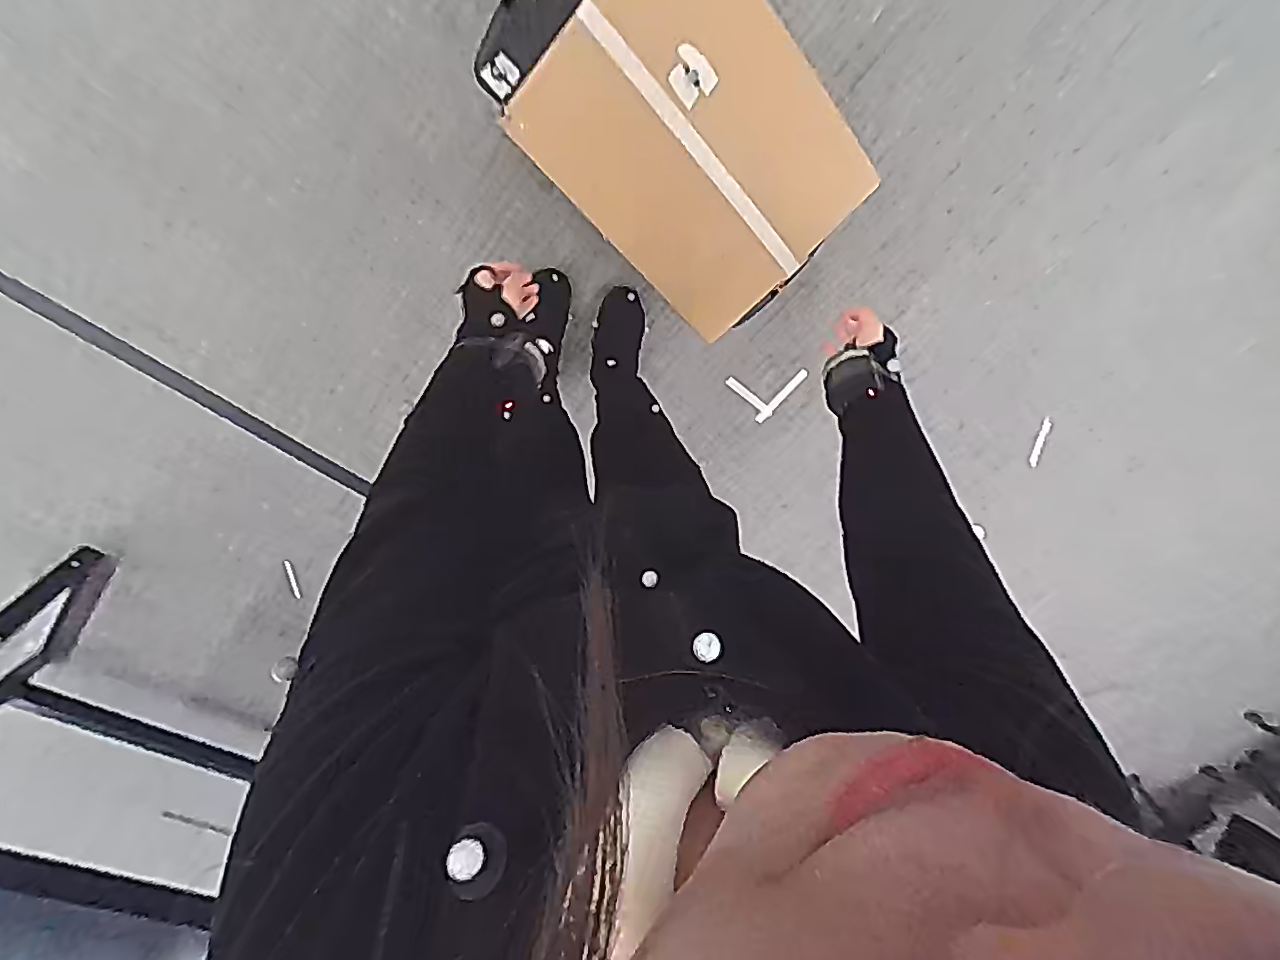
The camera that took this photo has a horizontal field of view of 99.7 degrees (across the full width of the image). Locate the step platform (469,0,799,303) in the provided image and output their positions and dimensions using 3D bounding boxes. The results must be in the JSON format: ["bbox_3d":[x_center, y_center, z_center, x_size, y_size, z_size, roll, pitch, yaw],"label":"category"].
[{"bbox_3d":[0.026,-0.620,1.010,0.286,0.204,0.684,-40,115,18],"label":"step platform"}]

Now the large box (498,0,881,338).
[{"bbox_3d":[0.066,-0.493,0.811,0.408,0.320,0.320,40,110,-23],"label":"large box"}]
